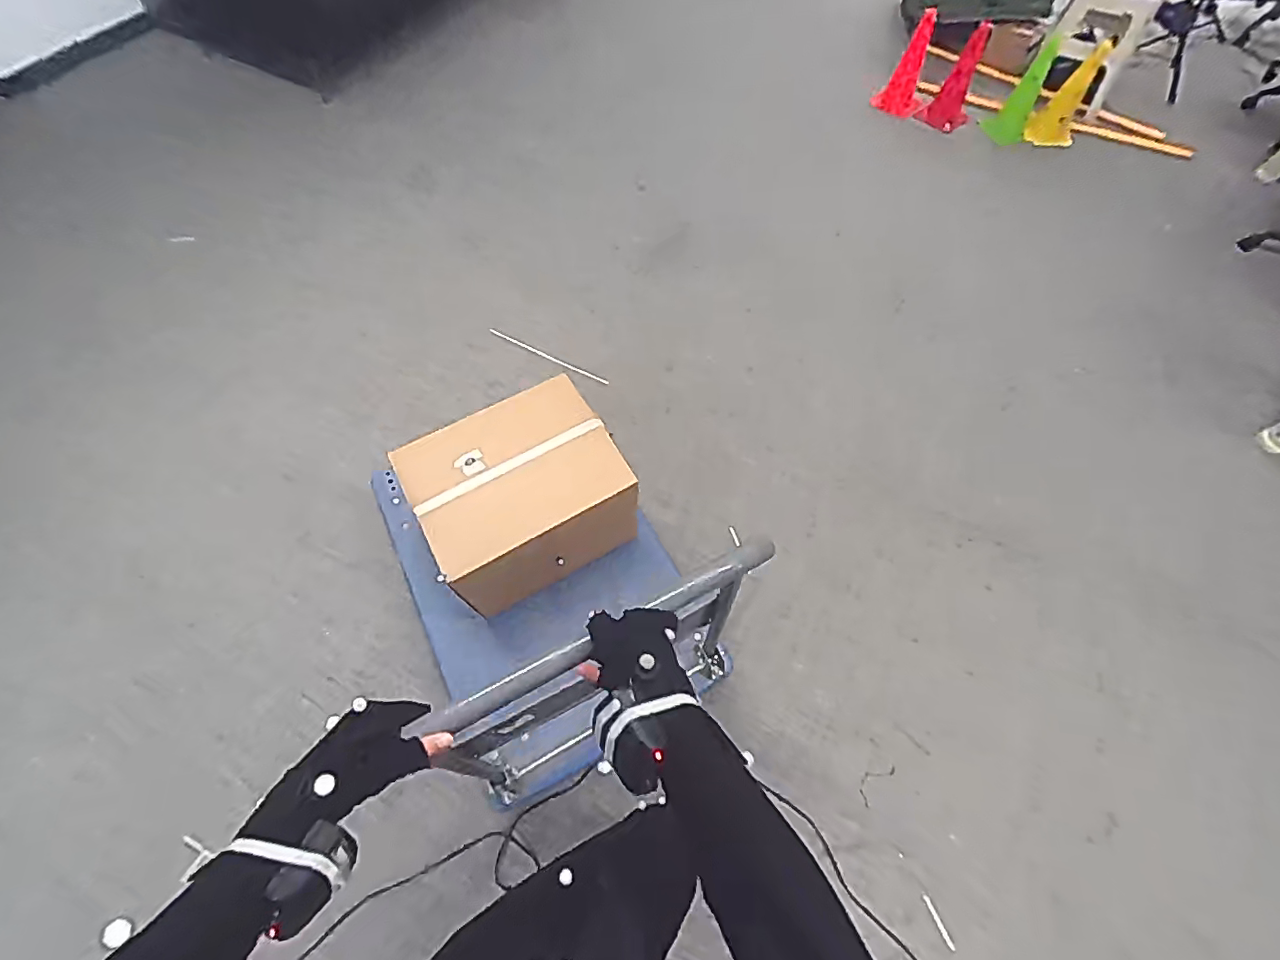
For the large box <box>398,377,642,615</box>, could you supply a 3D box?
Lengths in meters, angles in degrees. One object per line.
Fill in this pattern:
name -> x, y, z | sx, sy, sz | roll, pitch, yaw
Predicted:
large box -> -0.244, 0.045, 1.213 | 0.408, 0.320, 0.320 | -28, 67, -14
